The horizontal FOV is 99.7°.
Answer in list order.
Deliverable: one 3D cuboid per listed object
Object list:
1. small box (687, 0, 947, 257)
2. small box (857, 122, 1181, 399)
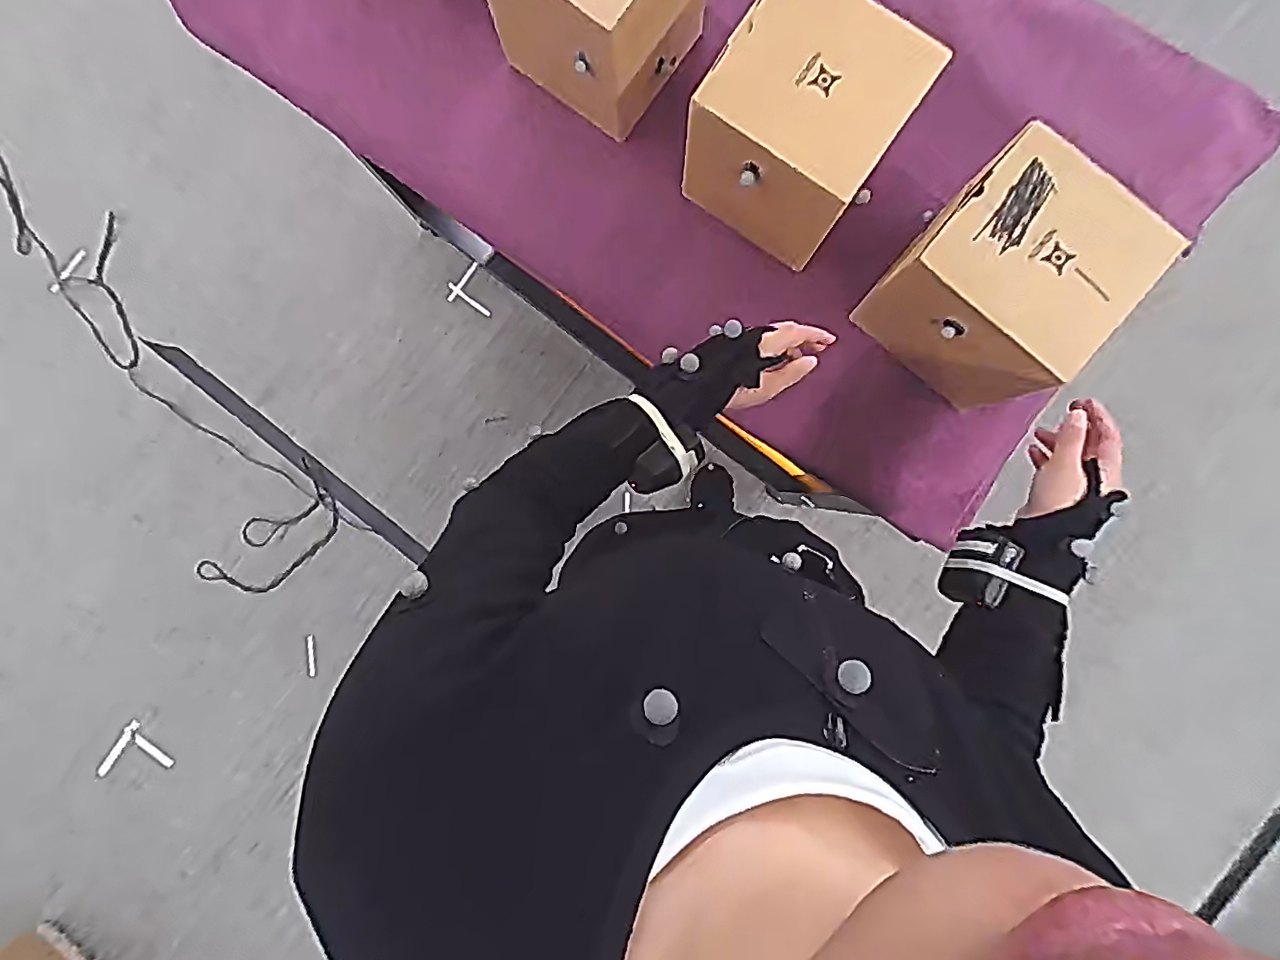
[{"bbox_3d":[0.167,-0.366,0.572,0.179,0.176,0.168,35,91,2],"label":"small box"},{"bbox_3d":[0.363,-0.203,0.559,0.179,0.176,0.168,41,90,1],"label":"small box"}]
